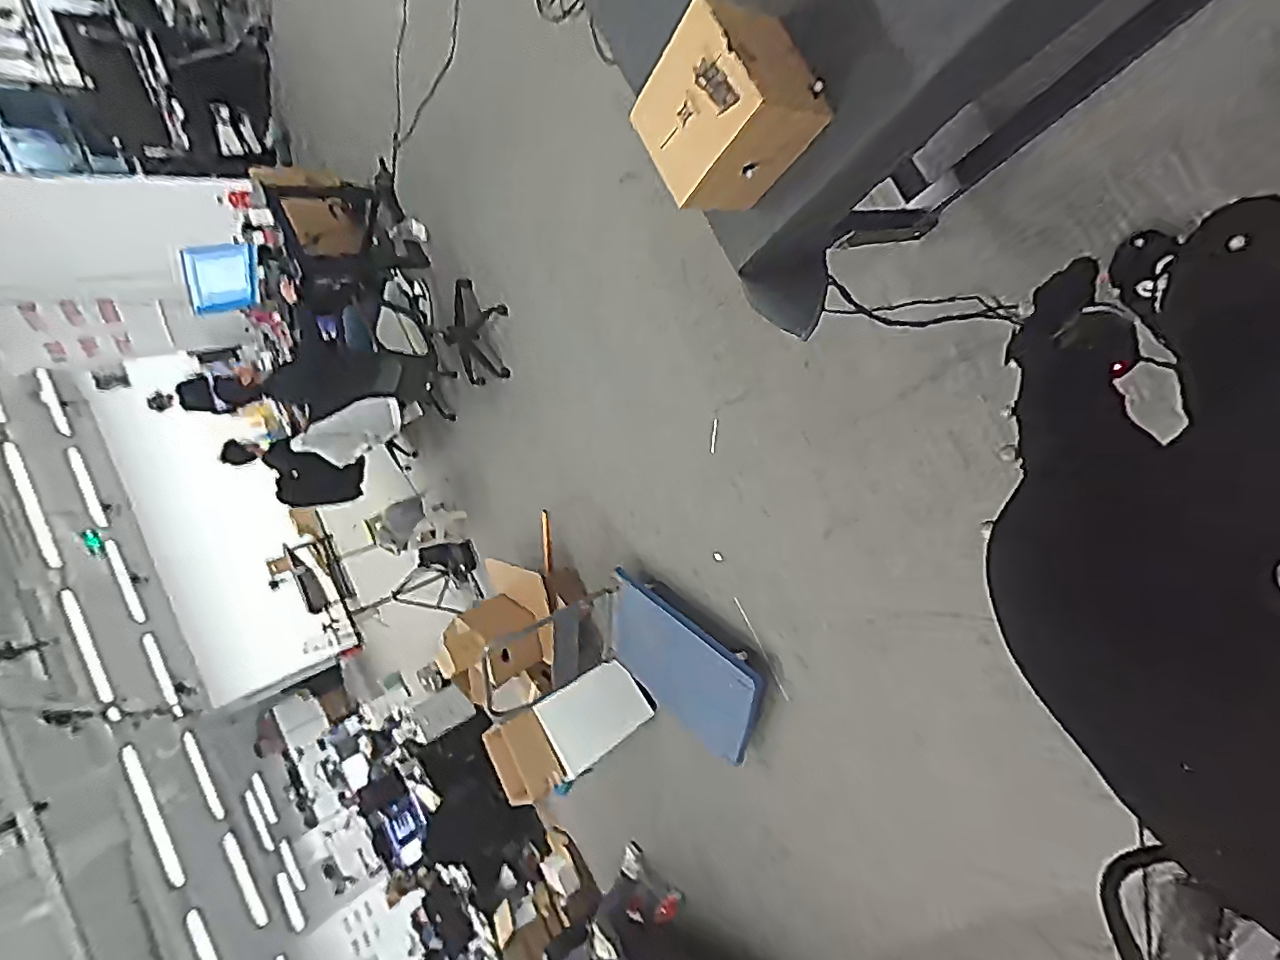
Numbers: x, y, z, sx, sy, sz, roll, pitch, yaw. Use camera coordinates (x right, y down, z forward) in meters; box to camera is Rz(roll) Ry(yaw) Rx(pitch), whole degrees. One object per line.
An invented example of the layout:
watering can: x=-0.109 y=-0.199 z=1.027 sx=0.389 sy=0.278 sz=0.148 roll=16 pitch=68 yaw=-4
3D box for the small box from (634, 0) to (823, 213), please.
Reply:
small box: x=0.129 y=-0.507 z=0.761 sx=0.179 sy=0.176 sz=0.168 roll=-35 pitch=80 yaw=52
